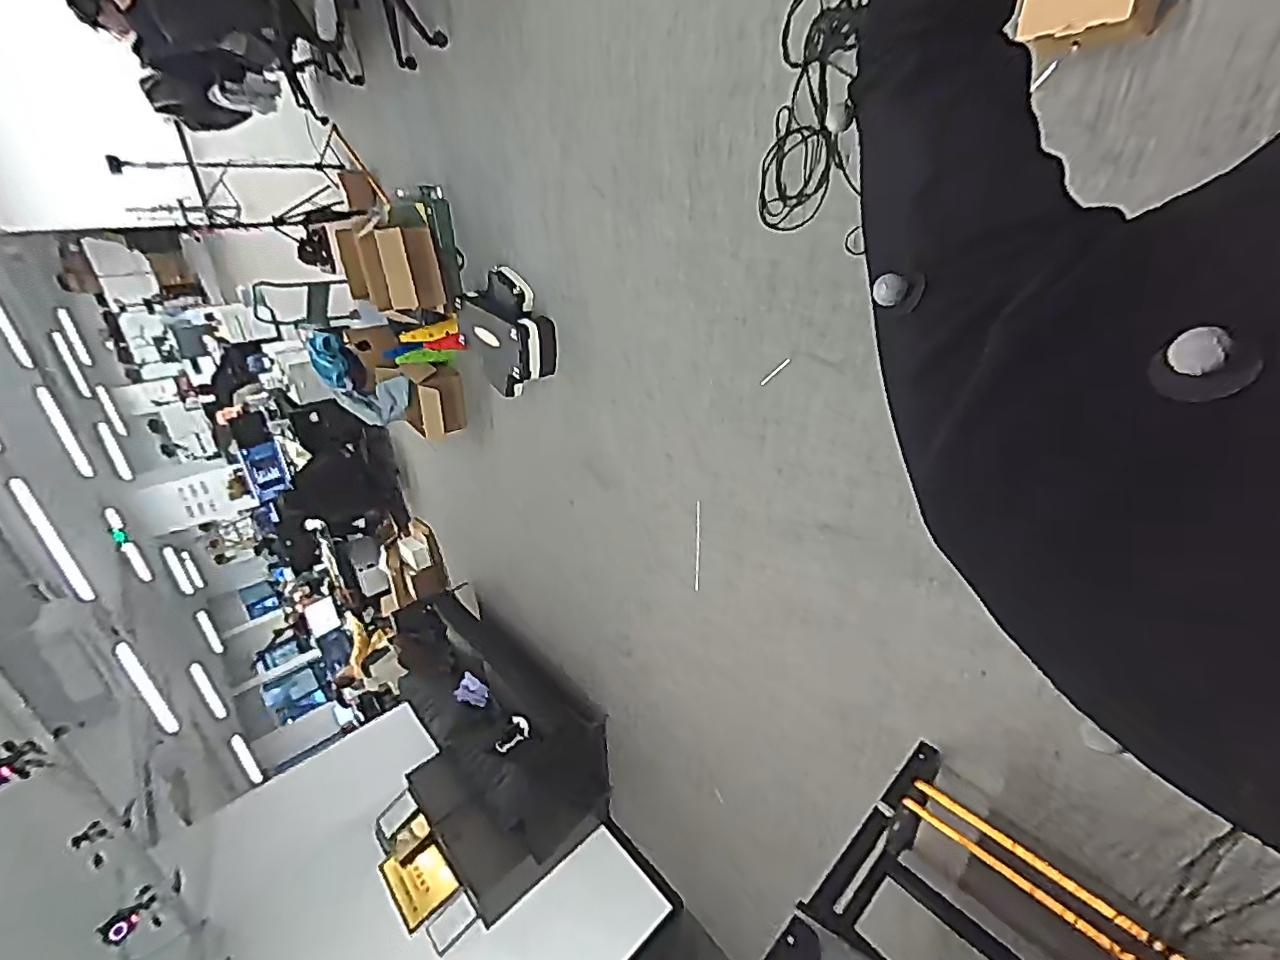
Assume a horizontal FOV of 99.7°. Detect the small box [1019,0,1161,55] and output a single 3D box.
[{"bbox_3d":[0.797,-0.869,0.935,0.168,0.176,0.179,25,128,43],"label":"small box"}]
